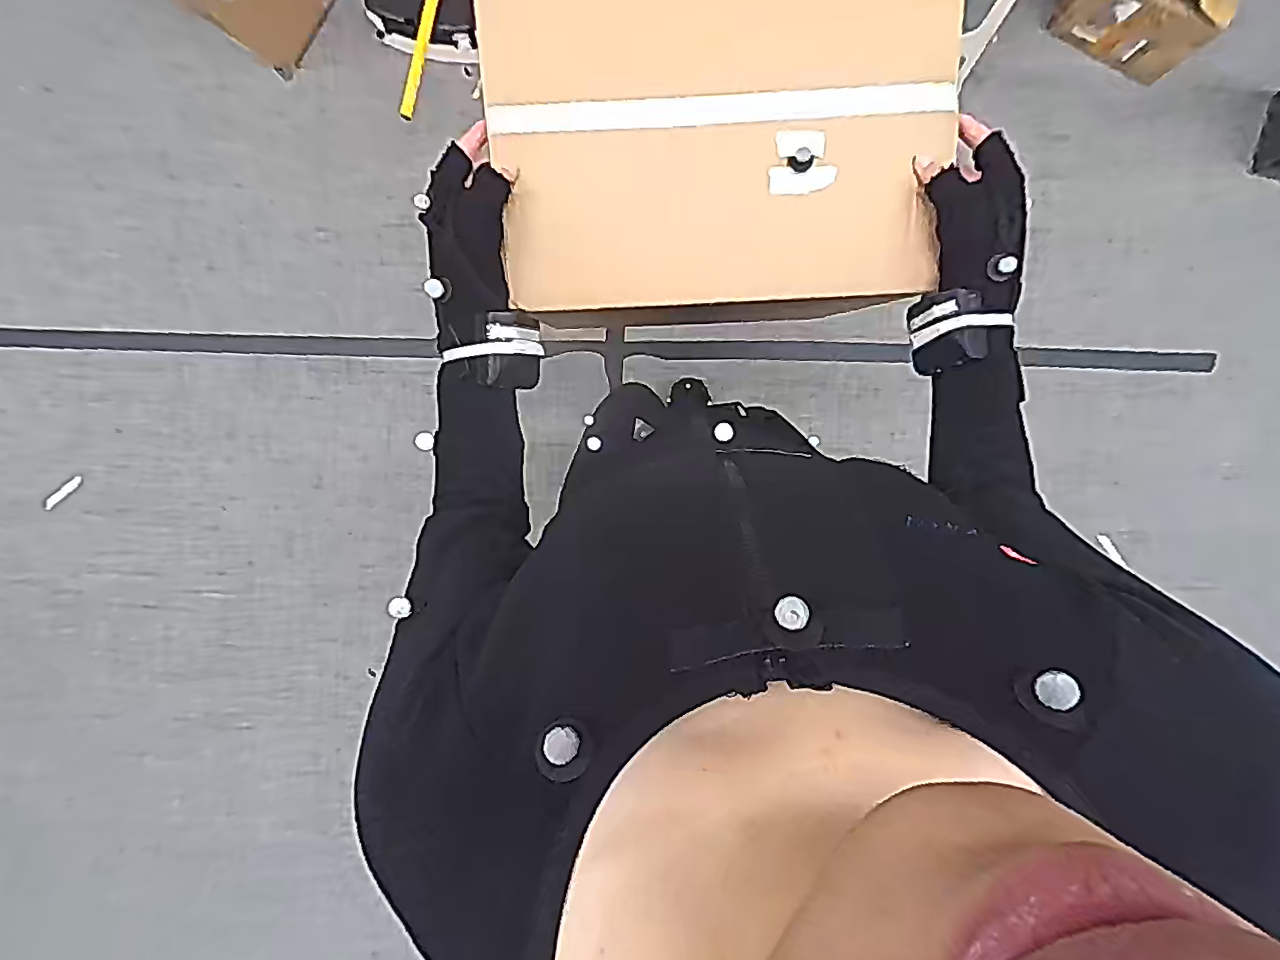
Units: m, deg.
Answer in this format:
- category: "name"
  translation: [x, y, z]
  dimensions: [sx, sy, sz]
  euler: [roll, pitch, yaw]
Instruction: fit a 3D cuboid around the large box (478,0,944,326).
- category: "large box"
  translation: [0.061, -0.359, 0.622]
  dimensions: [0.408, 0.320, 0.320]
  euler: [-3, 103, -1]
